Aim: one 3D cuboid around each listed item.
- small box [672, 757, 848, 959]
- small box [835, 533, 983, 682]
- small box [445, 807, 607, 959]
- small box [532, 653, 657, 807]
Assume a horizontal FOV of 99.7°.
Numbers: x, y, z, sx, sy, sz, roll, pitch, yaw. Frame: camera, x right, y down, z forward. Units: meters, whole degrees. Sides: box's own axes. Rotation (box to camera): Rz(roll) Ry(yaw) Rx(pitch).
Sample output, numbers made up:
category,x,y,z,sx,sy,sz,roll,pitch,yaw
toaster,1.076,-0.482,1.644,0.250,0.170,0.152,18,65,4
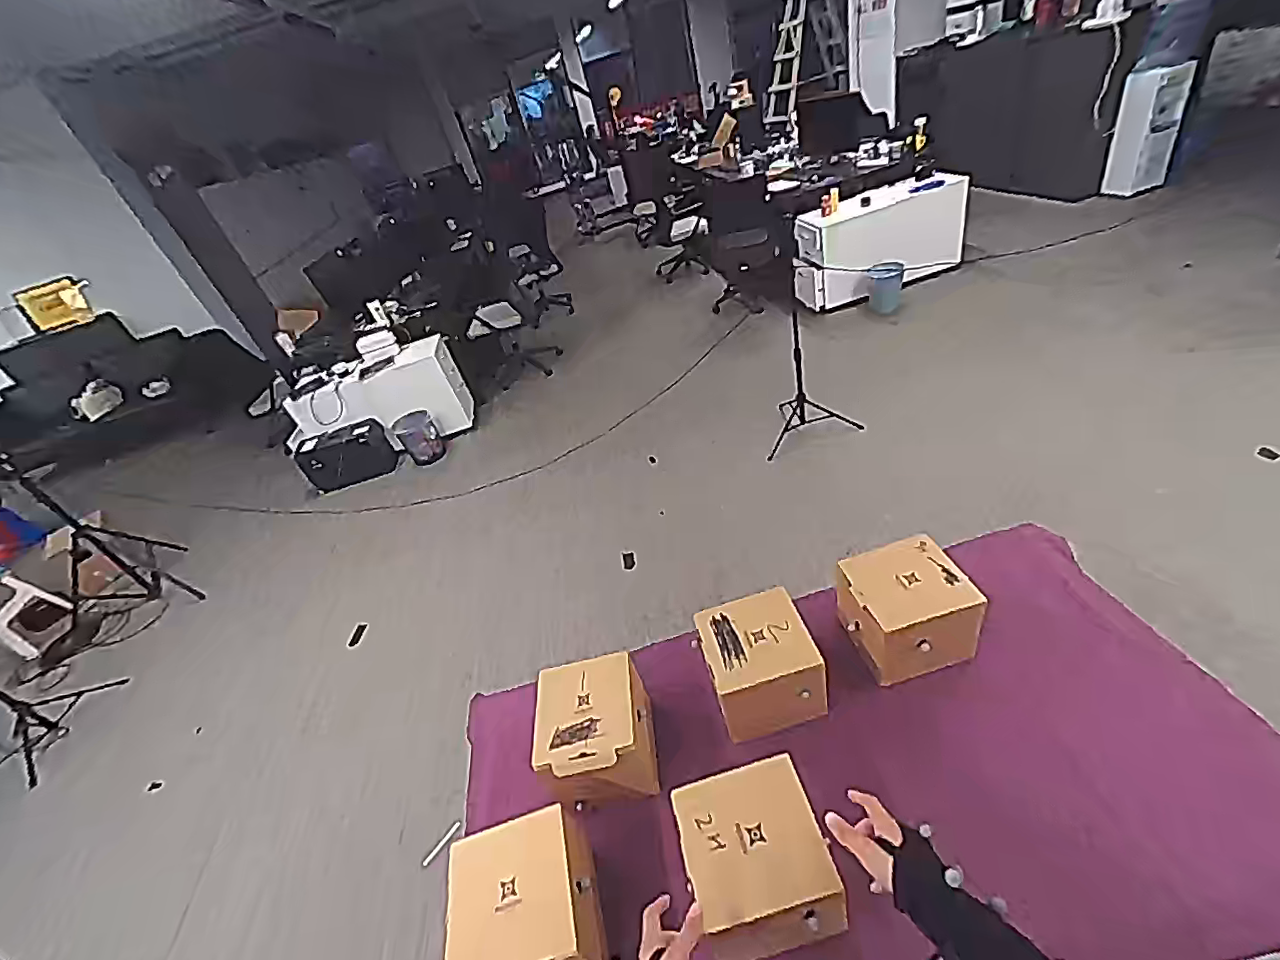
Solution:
category,x,y,z,sx,sy,sz,roll,pitch,yaw
small box,0.158,0.512,0.724,0.179,0.176,0.168,-18,36,0
small box,0.469,0.230,0.960,0.179,0.176,0.168,-19,38,1
small box,-0.152,0.598,0.740,0.168,0.176,0.179,-19,36,-4
small box,-0.073,0.433,0.928,0.168,0.176,0.179,-14,36,4
